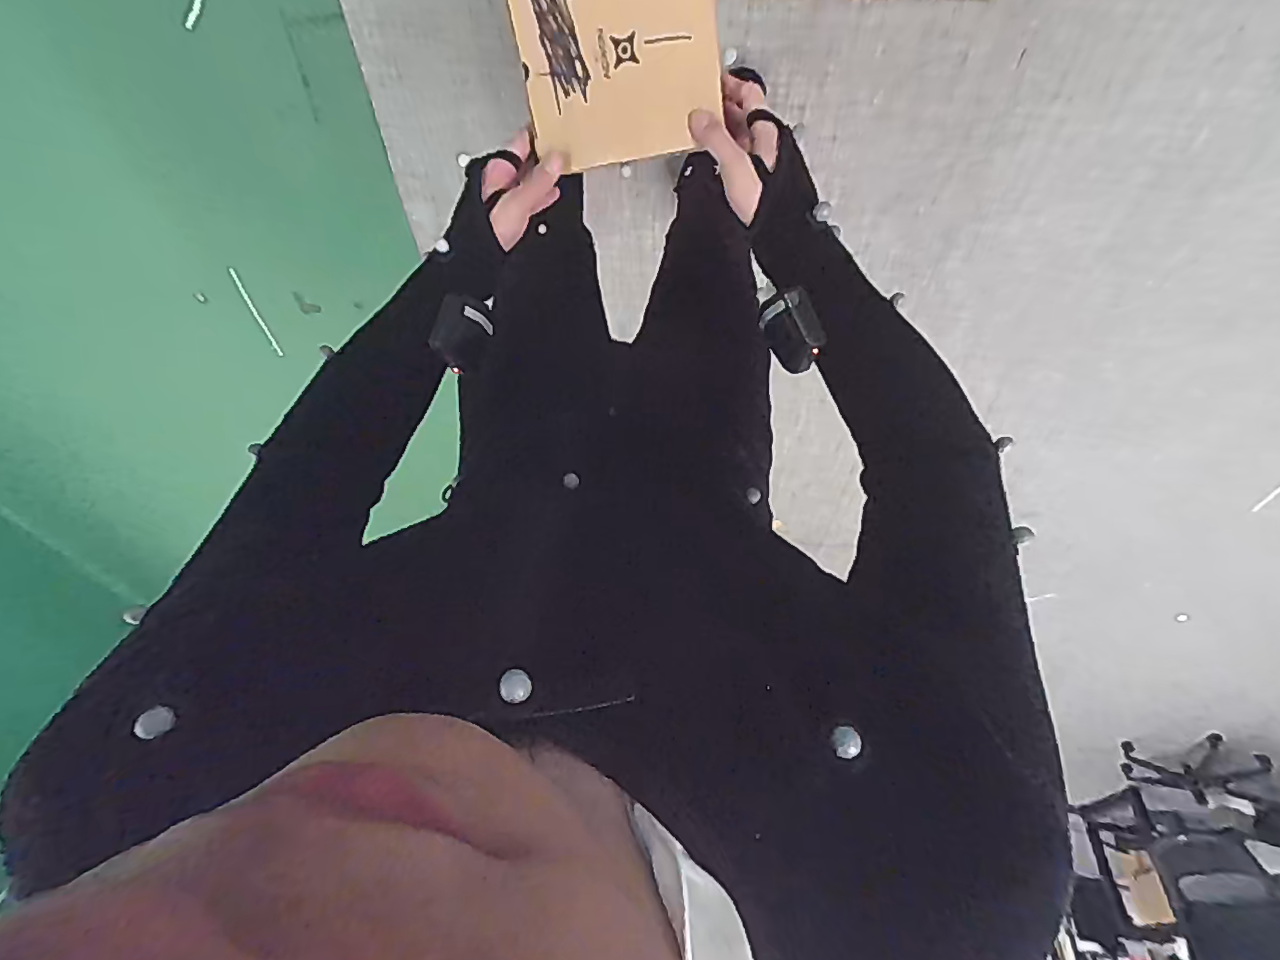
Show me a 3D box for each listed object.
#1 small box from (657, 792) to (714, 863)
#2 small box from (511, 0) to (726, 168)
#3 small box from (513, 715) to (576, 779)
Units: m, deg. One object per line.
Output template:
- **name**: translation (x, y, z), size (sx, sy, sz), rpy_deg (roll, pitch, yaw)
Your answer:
- **small box**: translation (0.158, 1.209, 1.889), size (0.179, 0.176, 0.168), rpy_deg (7, 138, 8)
- **small box**: translation (-0.008, -0.416, 0.538), size (0.179, 0.176, 0.168), rpy_deg (-3, 121, 11)
- **small box**: translation (-0.358, 1.010, 2.053), size (0.179, 0.176, 0.168), rpy_deg (6, 139, 9)
